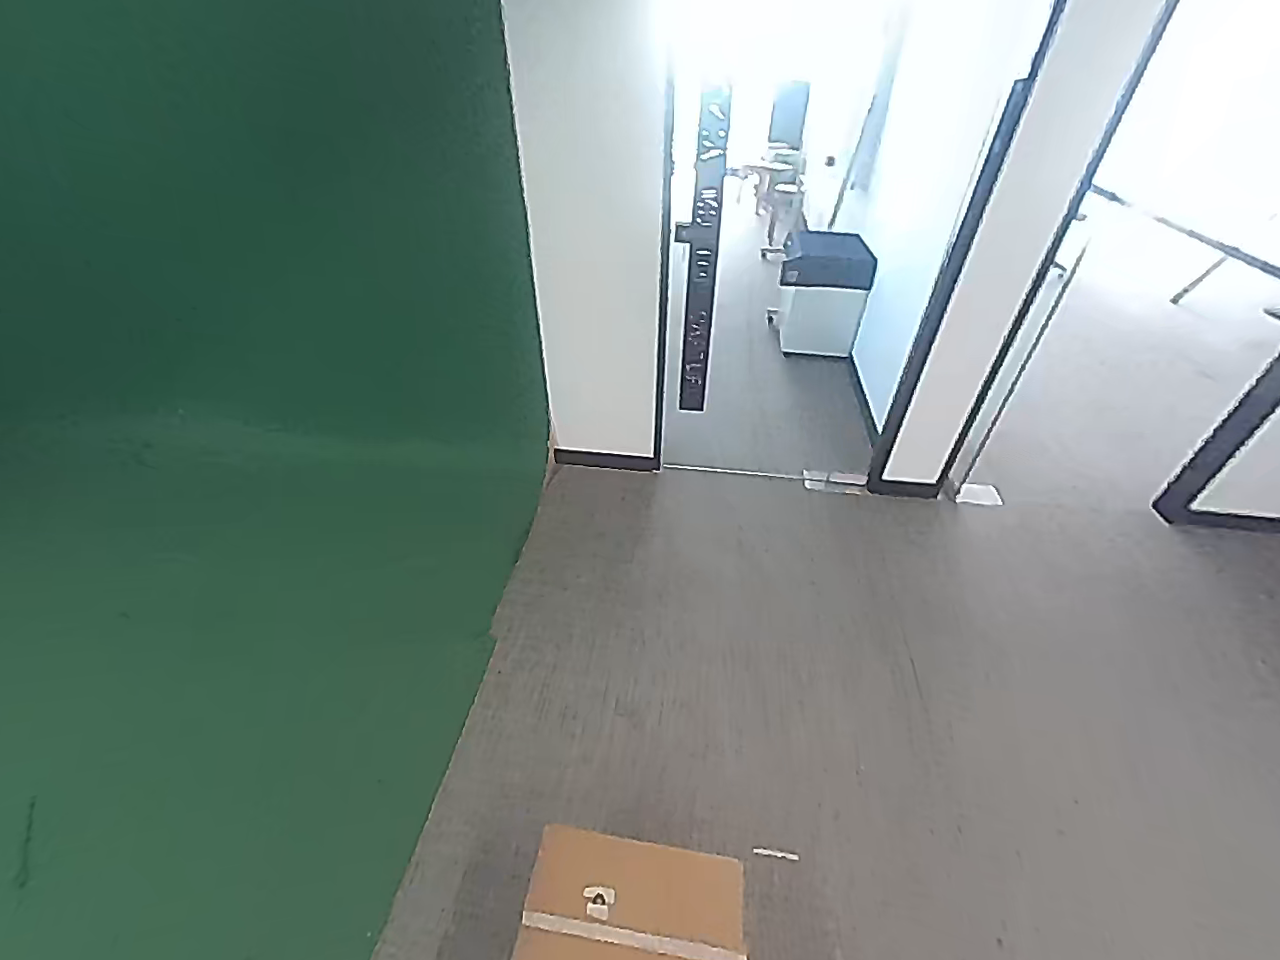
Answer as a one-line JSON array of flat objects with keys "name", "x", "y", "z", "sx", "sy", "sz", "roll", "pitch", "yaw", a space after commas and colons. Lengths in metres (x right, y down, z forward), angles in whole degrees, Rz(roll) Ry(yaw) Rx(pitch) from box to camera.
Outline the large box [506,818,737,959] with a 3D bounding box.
[{"name": "large box", "x": -0.025, "y": 0.920, "z": 1.071, "sx": 0.408, "sy": 0.320, "sz": 0.320, "roll": 6, "pitch": 40, "yaw": 7}]
